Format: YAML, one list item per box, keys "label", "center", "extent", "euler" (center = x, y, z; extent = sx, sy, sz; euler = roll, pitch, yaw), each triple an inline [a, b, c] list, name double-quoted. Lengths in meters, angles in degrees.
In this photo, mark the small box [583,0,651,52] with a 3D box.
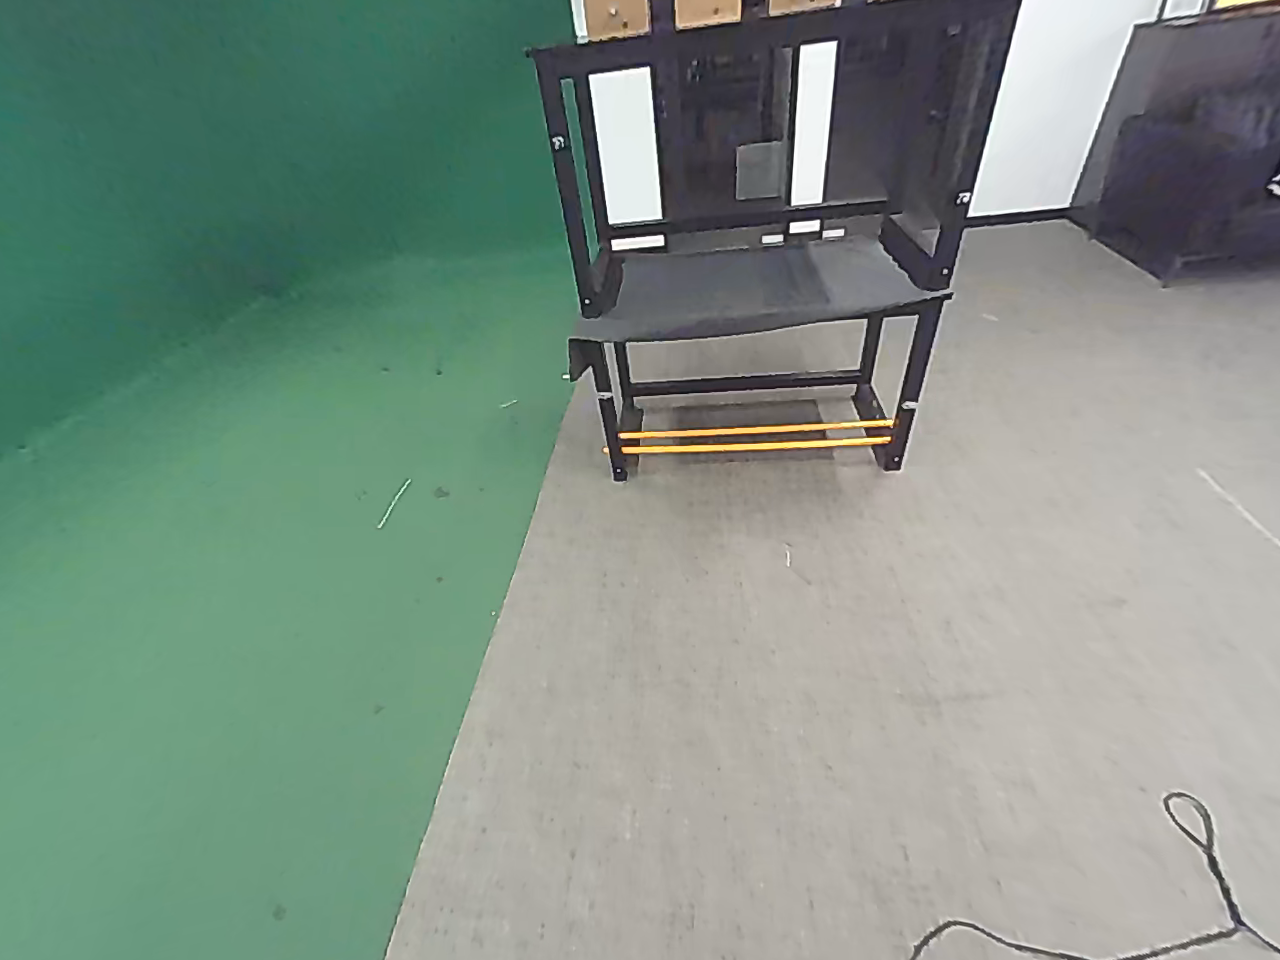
- label: "small box"
  center: [-0.062, -1.271, 1.457]
  extent: [0.168, 0.176, 0.179]
  euler: [-3, 41, 6]
